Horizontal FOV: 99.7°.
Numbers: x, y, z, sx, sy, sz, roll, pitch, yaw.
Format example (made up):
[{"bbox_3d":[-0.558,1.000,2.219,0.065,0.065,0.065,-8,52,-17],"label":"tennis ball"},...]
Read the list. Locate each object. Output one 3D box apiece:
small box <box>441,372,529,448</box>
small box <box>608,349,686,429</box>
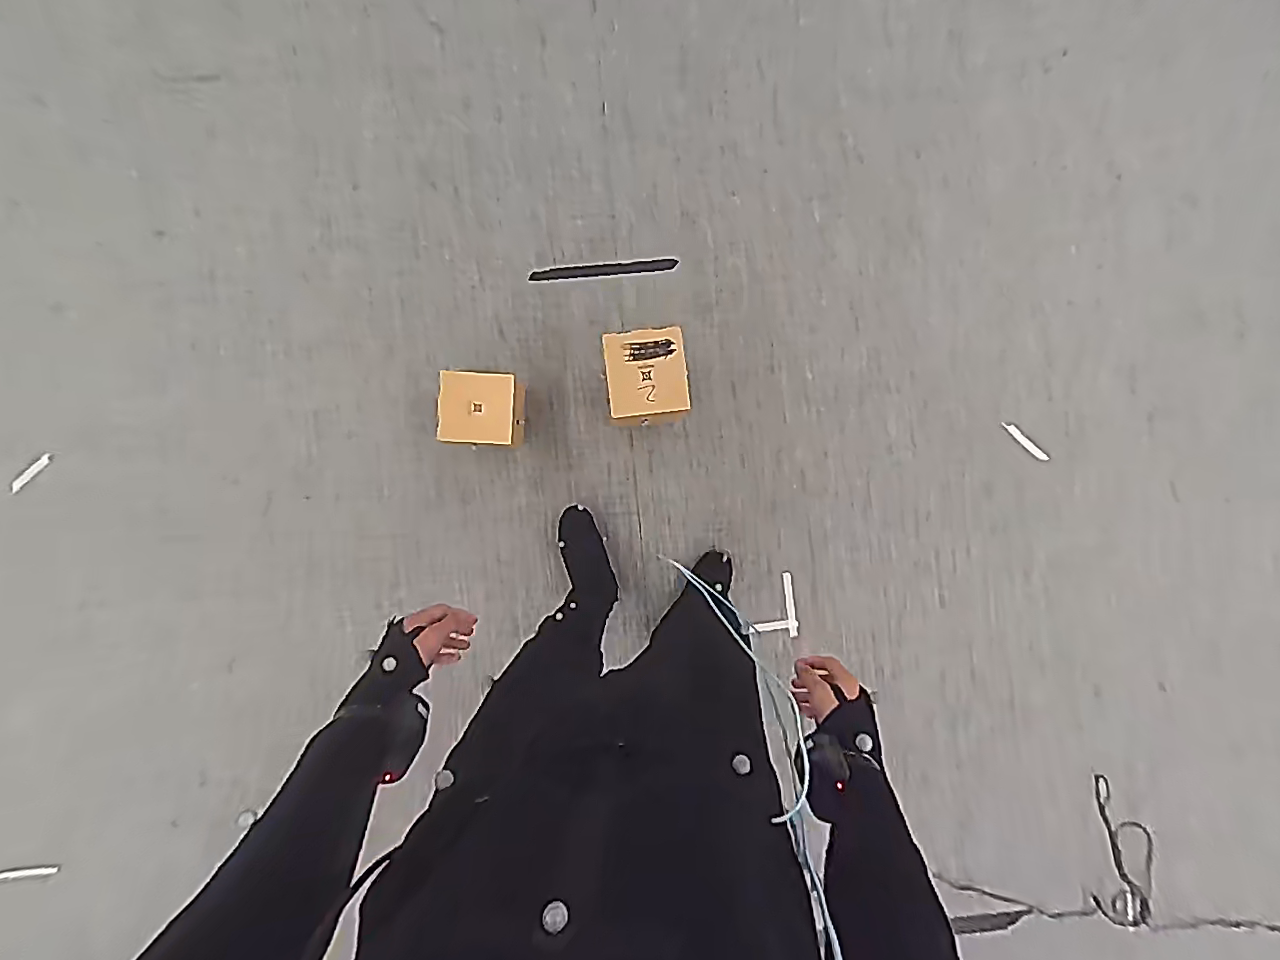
[{"bbox_3d":[-0.378,-0.169,1.345,0.179,0.176,0.168,3,91,-1],"label":"small box"},{"bbox_3d":[0.014,-0.223,1.359,0.179,0.176,0.168,-6,91,-3],"label":"small box"}]
